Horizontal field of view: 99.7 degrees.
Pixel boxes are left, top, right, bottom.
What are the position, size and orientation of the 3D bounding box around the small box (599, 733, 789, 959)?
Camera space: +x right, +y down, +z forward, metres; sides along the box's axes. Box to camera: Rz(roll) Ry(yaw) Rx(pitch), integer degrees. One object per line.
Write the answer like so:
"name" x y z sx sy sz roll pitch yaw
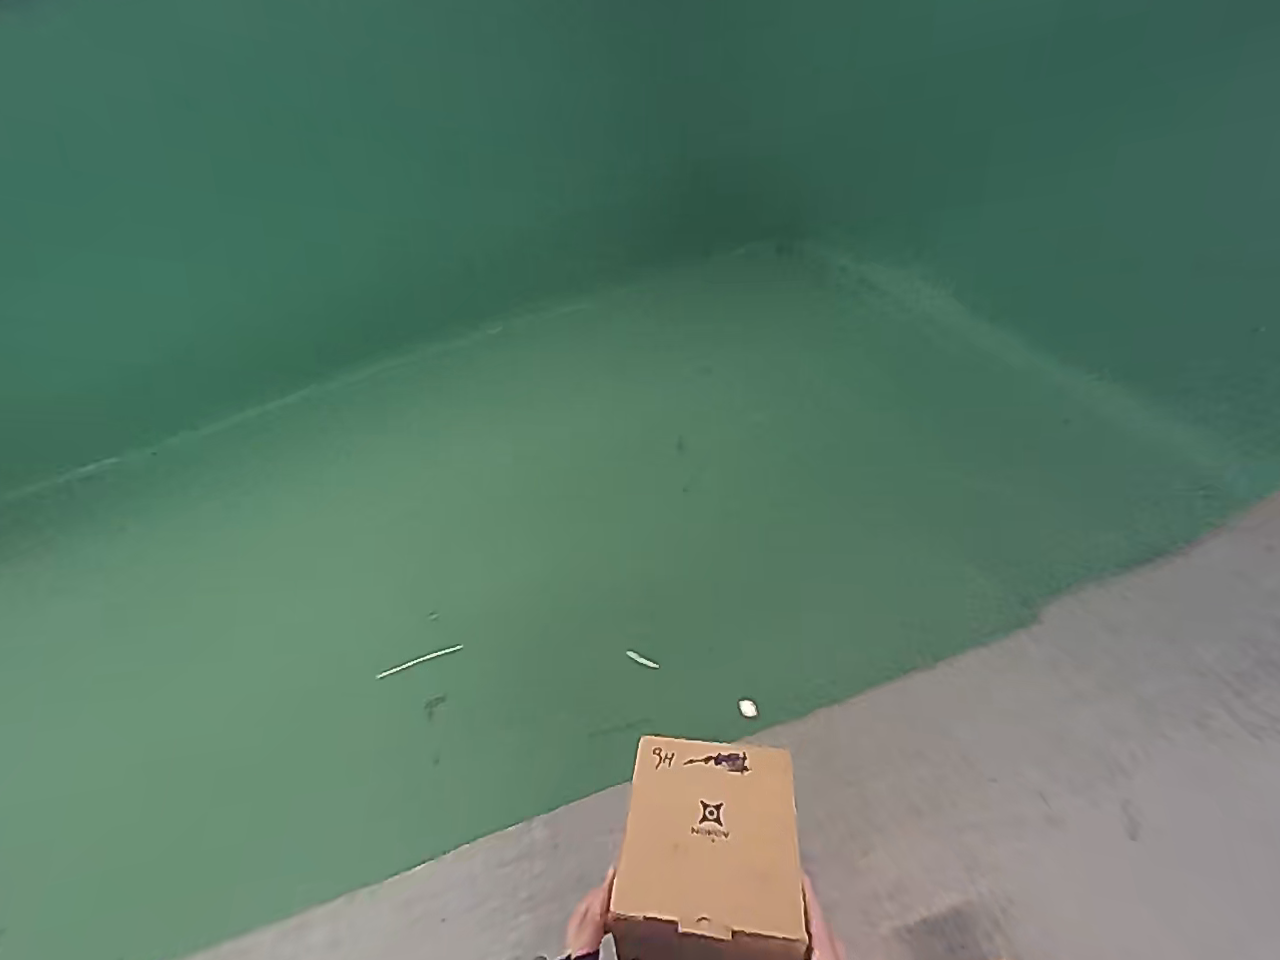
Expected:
"small box" 0.064 0.399 0.564 0.168 0.176 0.179 0 29 10
